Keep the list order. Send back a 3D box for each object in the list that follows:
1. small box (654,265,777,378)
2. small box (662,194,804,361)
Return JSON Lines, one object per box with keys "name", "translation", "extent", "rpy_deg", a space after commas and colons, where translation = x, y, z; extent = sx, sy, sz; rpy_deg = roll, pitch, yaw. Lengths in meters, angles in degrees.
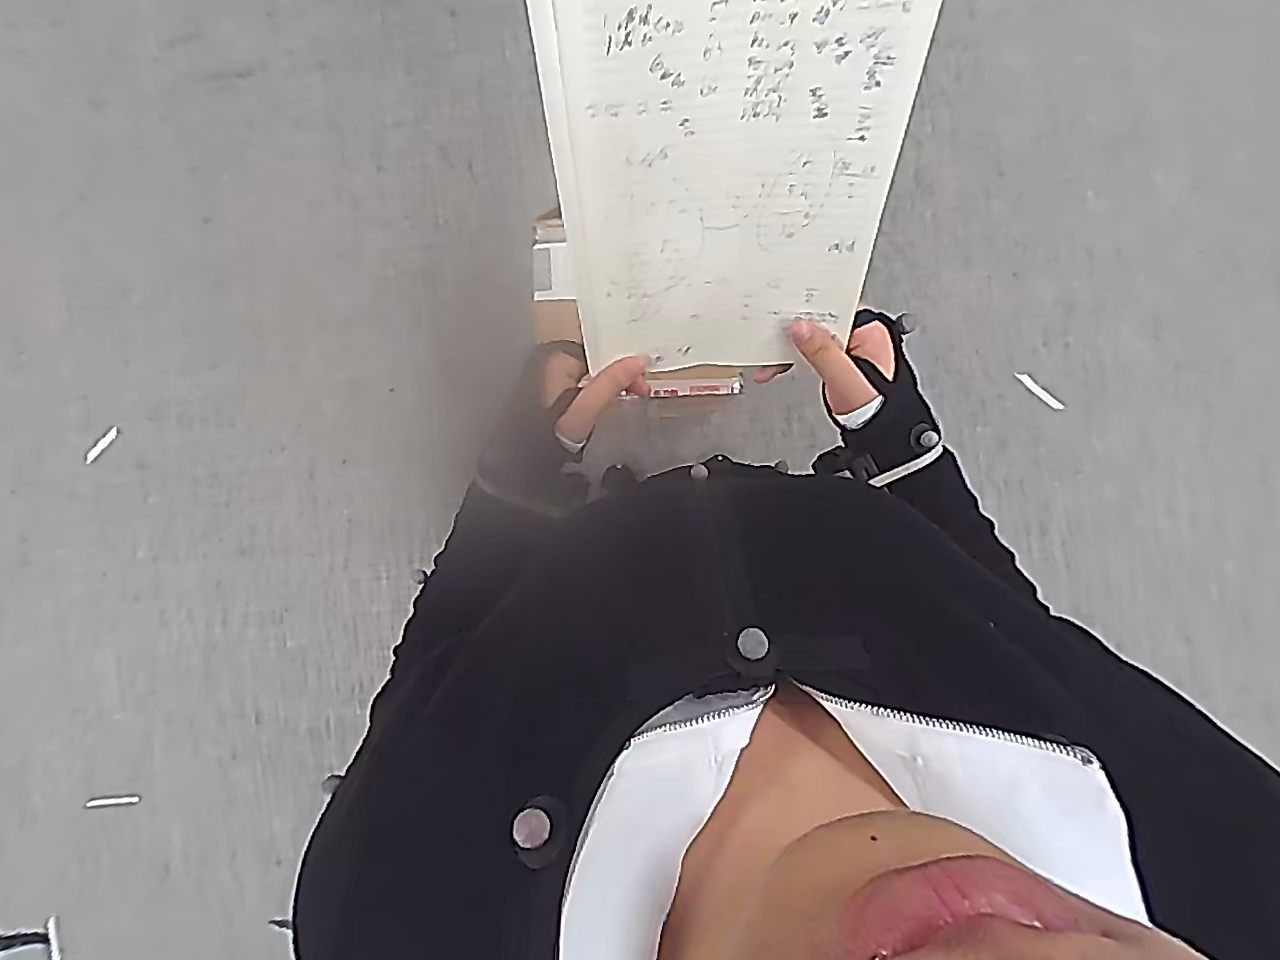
{"name": "small box", "translation": [0.124, -0.279, 0.945], "extent": [0.179, 0.176, 0.168], "rpy_deg": [-8, 92, 0]}
{"name": "small box", "translation": [0.124, -0.281, 0.781], "extent": [0.168, 0.176, 0.179], "rpy_deg": [-5, 92, -1]}
